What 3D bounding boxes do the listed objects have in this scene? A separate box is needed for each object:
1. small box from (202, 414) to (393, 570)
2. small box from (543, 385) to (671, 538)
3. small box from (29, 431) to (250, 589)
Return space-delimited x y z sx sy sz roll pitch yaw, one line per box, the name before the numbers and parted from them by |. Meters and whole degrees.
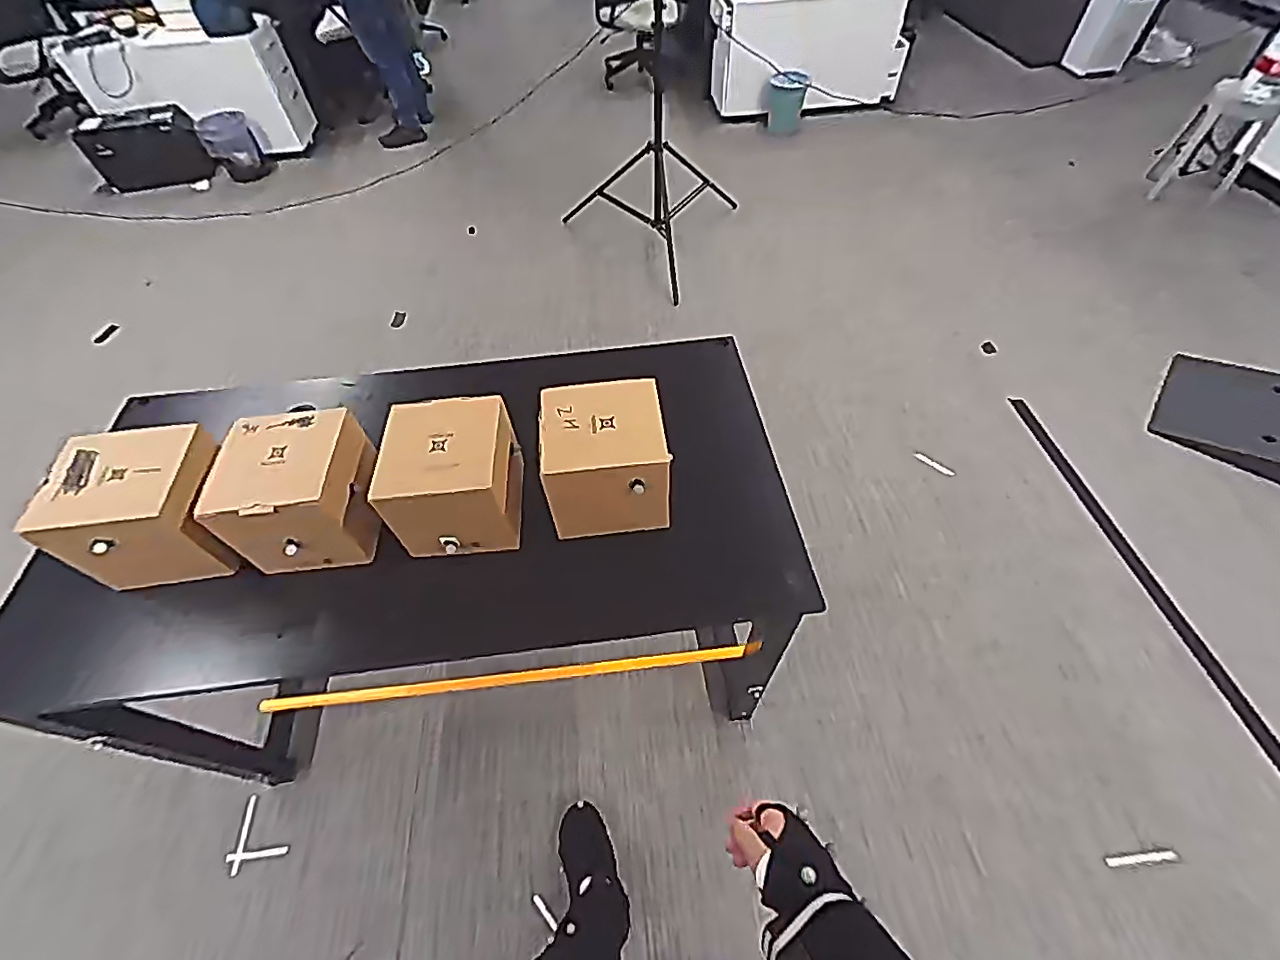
small box | -0.499 0.026 0.823 0.168 0.176 0.179 -6 54 -2
small box | -0.050 -0.025 0.839 0.179 0.176 0.168 -6 53 -2
small box | -0.713 0.050 0.813 0.179 0.176 0.168 -8 54 -5
